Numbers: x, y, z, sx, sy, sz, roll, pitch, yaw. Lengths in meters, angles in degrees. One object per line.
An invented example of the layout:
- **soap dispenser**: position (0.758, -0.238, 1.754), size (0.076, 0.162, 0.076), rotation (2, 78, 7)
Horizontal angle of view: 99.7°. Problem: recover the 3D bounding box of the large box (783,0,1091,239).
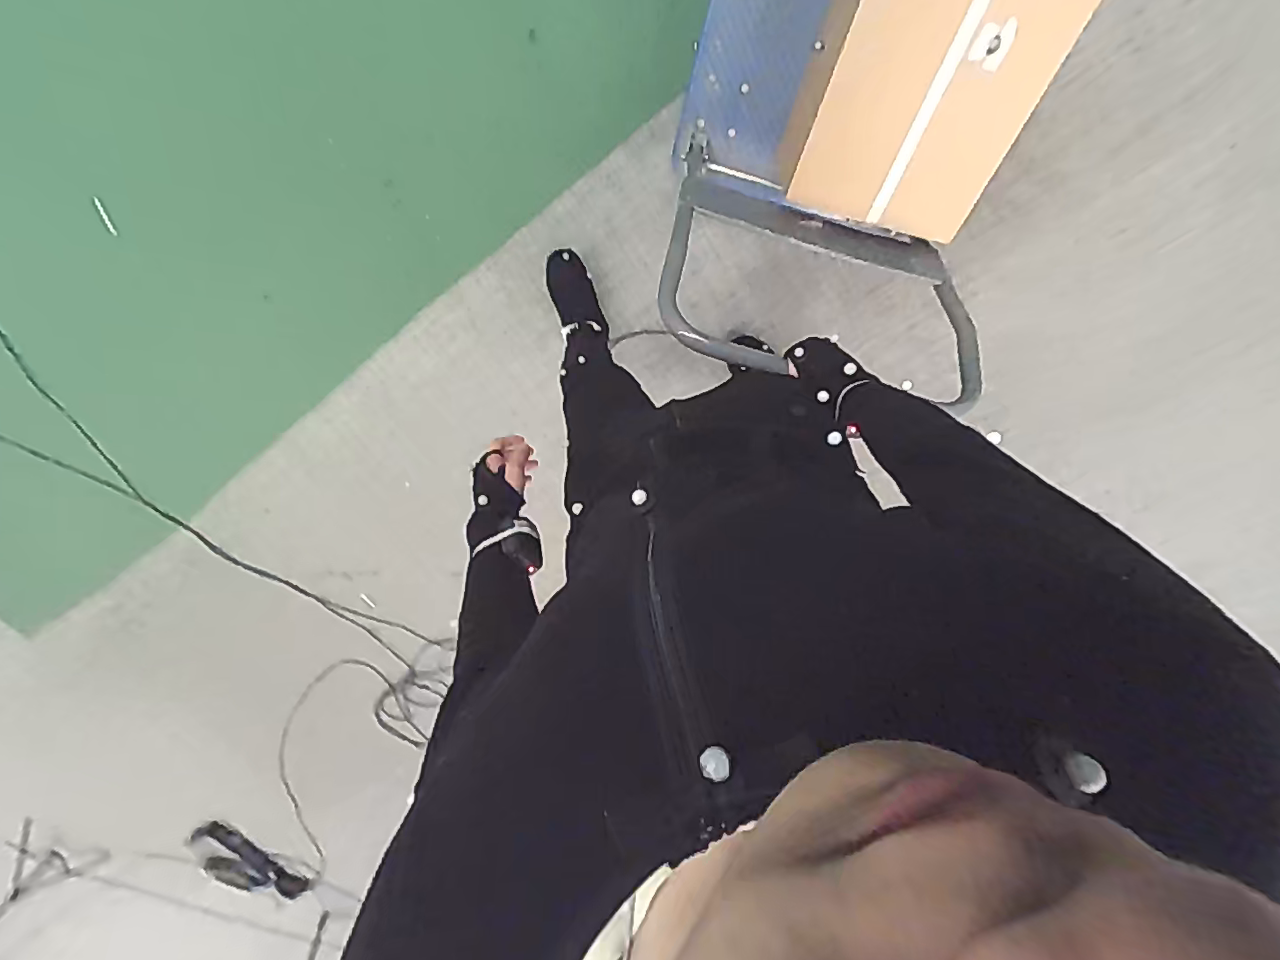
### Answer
- **large box**: position (0.470, -0.703, 0.941), size (0.320, 0.320, 0.408), rotation (13, 133, -3)
